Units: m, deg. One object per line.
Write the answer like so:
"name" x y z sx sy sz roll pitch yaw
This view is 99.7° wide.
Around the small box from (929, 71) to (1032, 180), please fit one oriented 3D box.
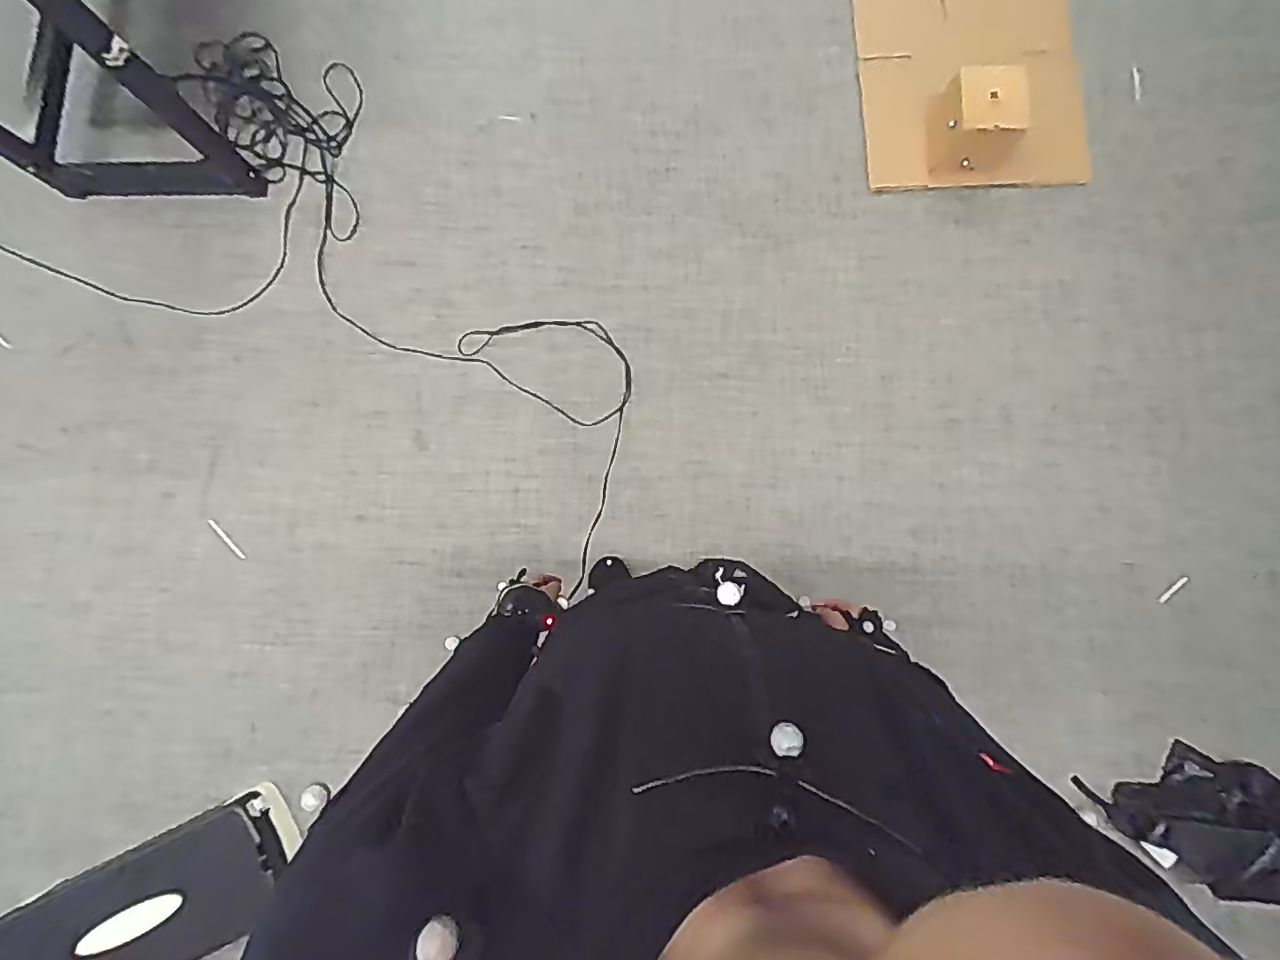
"small box" 0.879 -0.922 1.413 0.168 0.176 0.179 0 83 1
